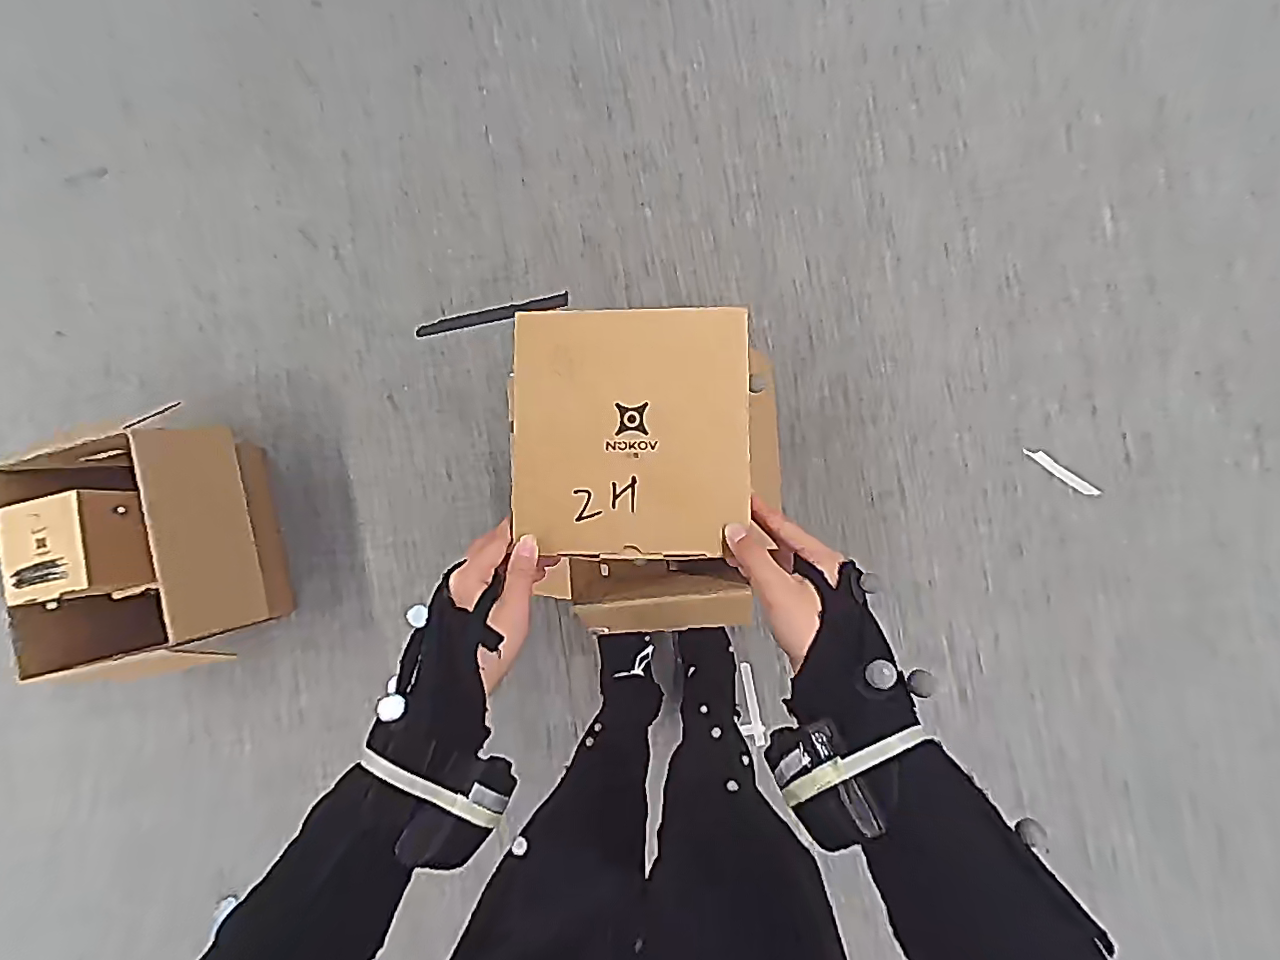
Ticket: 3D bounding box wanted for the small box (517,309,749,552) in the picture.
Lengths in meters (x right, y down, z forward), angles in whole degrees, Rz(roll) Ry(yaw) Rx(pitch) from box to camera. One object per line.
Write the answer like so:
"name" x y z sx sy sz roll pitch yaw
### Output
"small box" -0.001 -0.030 0.464 0.168 0.176 0.179 -1 87 4
